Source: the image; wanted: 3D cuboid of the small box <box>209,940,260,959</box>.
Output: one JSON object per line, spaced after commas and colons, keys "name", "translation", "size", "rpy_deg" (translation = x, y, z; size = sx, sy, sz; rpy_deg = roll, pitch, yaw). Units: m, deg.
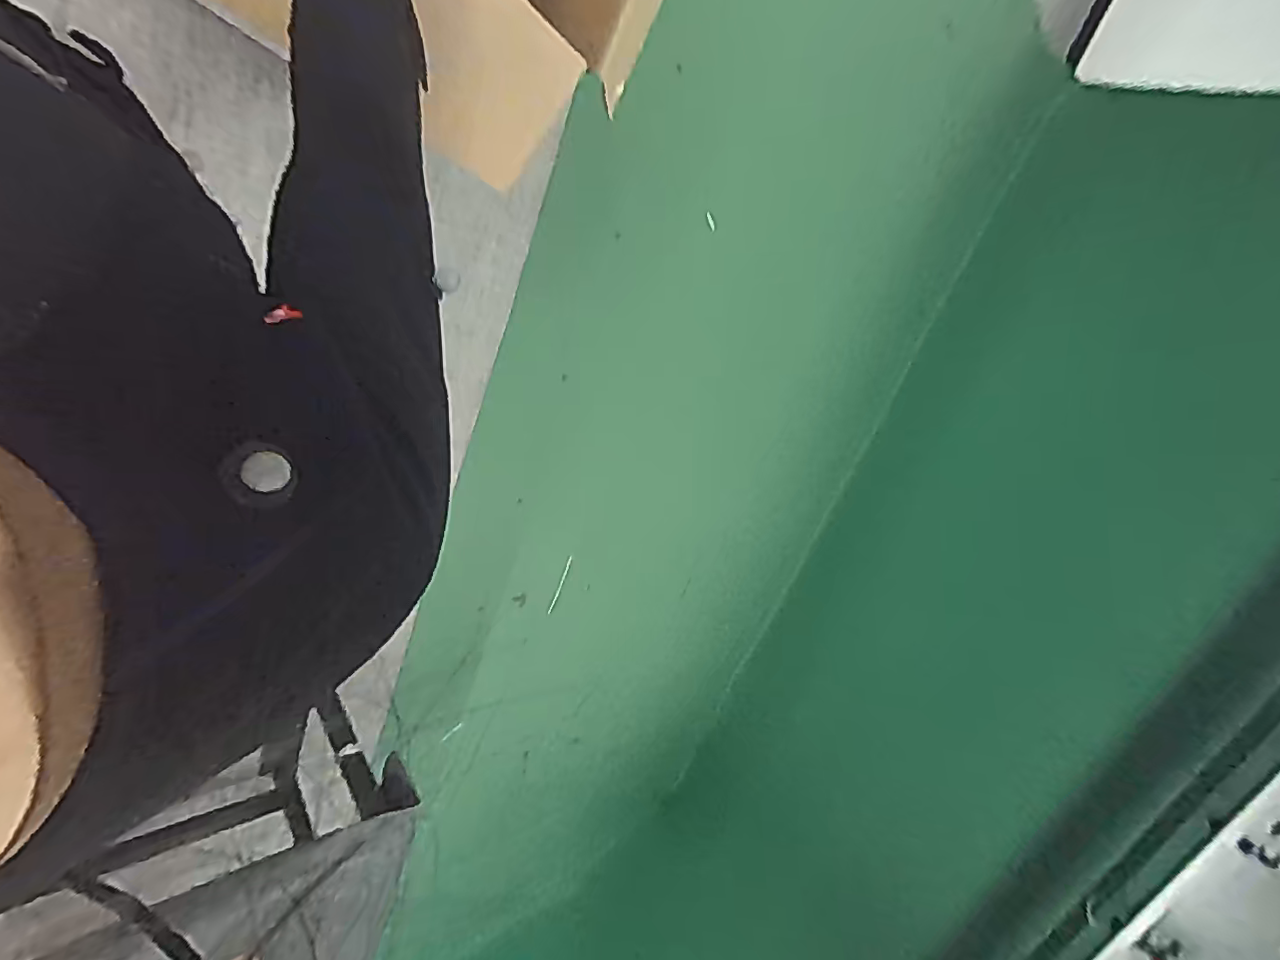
{"name": "small box", "translation": [-0.844, 1.077, 1.067], "size": [0.168, 0.176, 0.179], "rpy_deg": [-5, 122, -46]}
